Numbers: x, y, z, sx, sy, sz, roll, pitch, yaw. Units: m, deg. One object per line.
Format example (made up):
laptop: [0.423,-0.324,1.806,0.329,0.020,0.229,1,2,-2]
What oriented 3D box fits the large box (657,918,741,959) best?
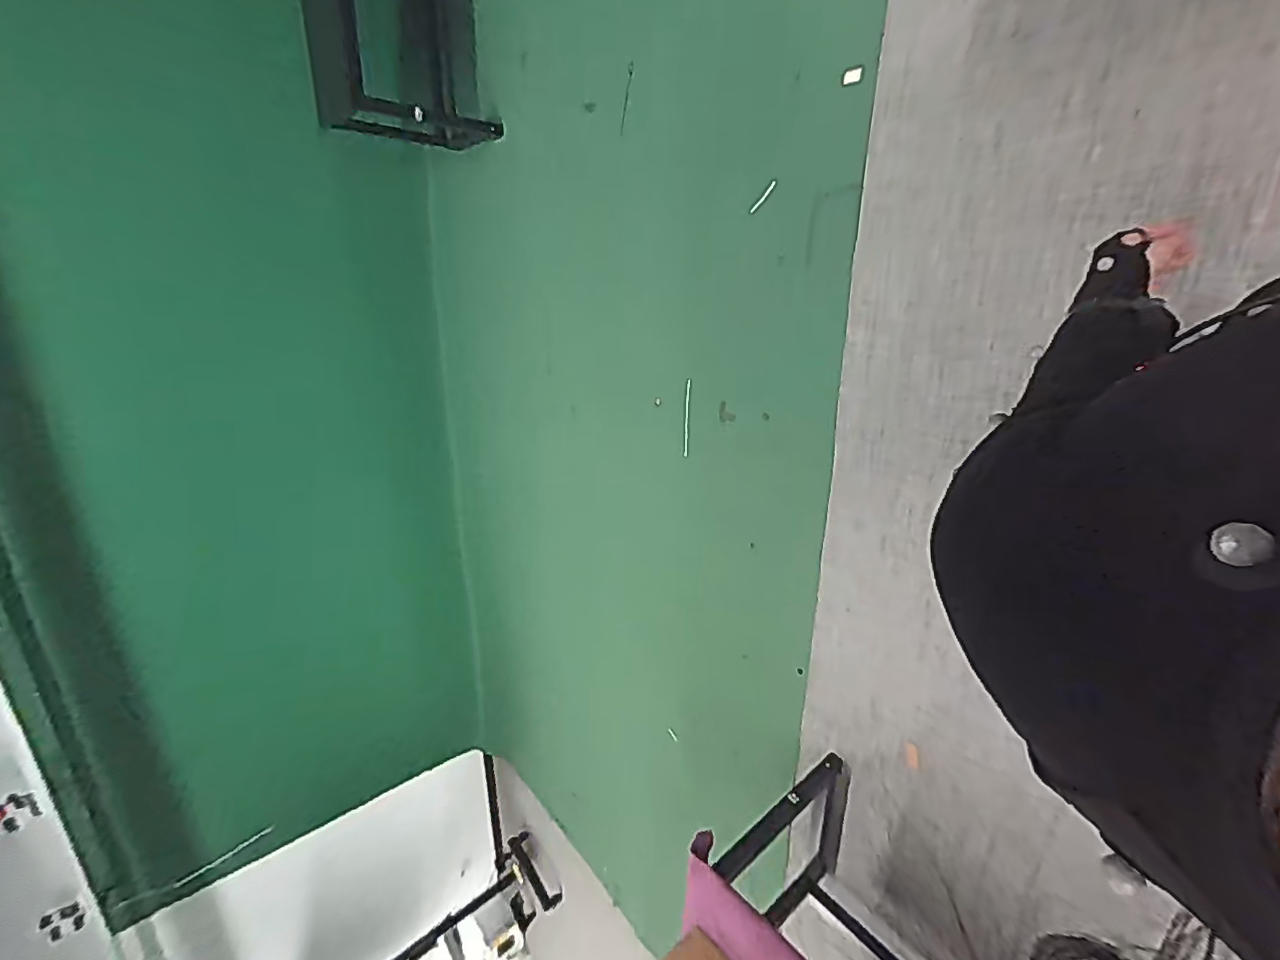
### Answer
large box: [0.152,1.473,1.373,0.320,0.320,0.408,19,115,45]
